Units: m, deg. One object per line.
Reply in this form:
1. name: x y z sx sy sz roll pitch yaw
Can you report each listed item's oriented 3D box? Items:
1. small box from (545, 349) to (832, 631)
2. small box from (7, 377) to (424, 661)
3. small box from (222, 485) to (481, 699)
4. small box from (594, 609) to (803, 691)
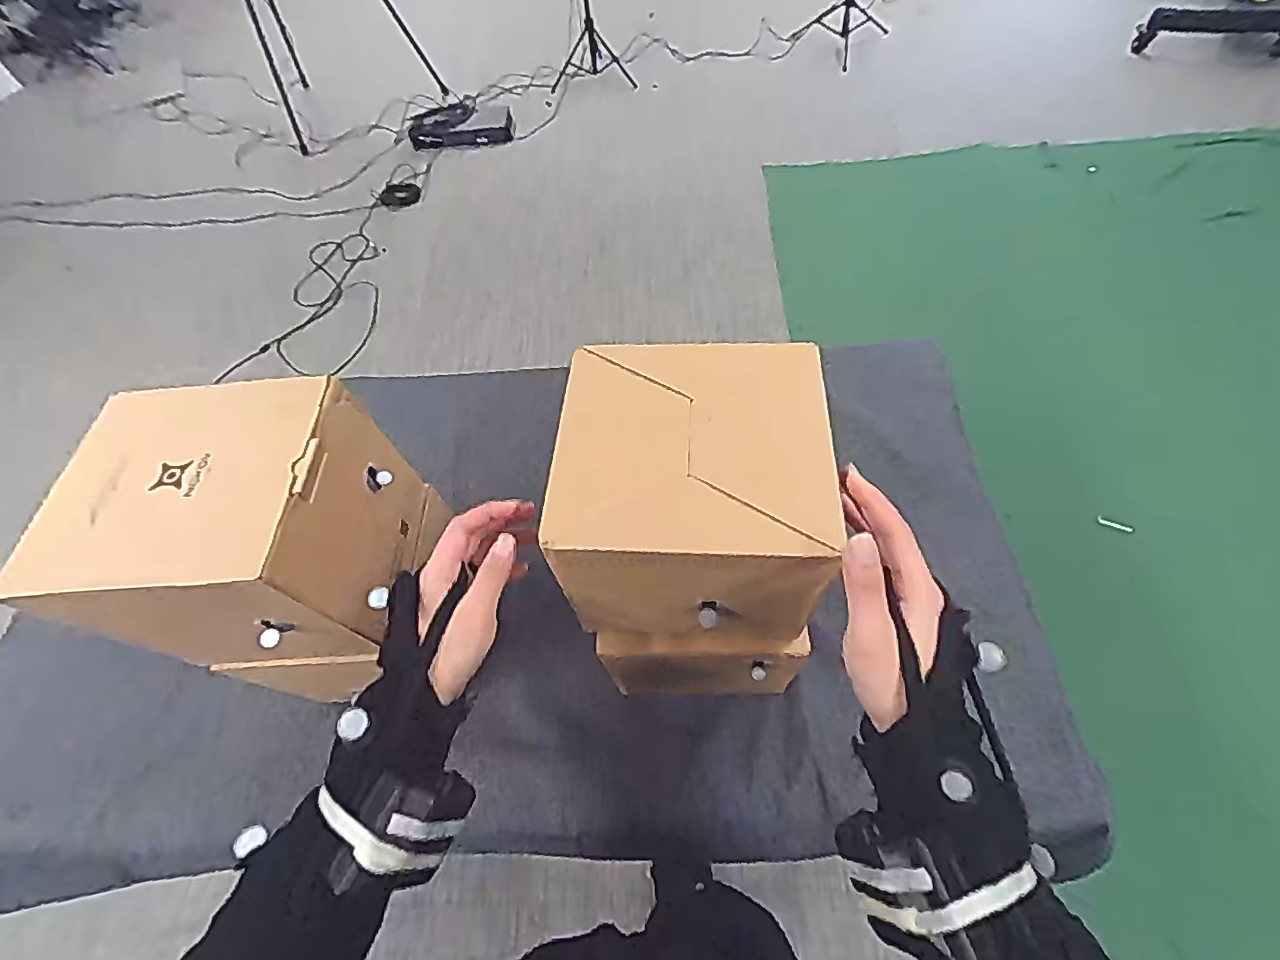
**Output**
1. small box: 0.039 0.014 0.421 0.179 0.176 0.168 1 58 6
2. small box: -0.301 0.040 0.438 0.179 0.176 0.168 -5 56 4
3. small box: -0.281 0.124 0.577 0.168 0.176 0.179 -4 59 3
4. small box: 0.055 0.114 0.554 0.179 0.176 0.168 -2 58 3
